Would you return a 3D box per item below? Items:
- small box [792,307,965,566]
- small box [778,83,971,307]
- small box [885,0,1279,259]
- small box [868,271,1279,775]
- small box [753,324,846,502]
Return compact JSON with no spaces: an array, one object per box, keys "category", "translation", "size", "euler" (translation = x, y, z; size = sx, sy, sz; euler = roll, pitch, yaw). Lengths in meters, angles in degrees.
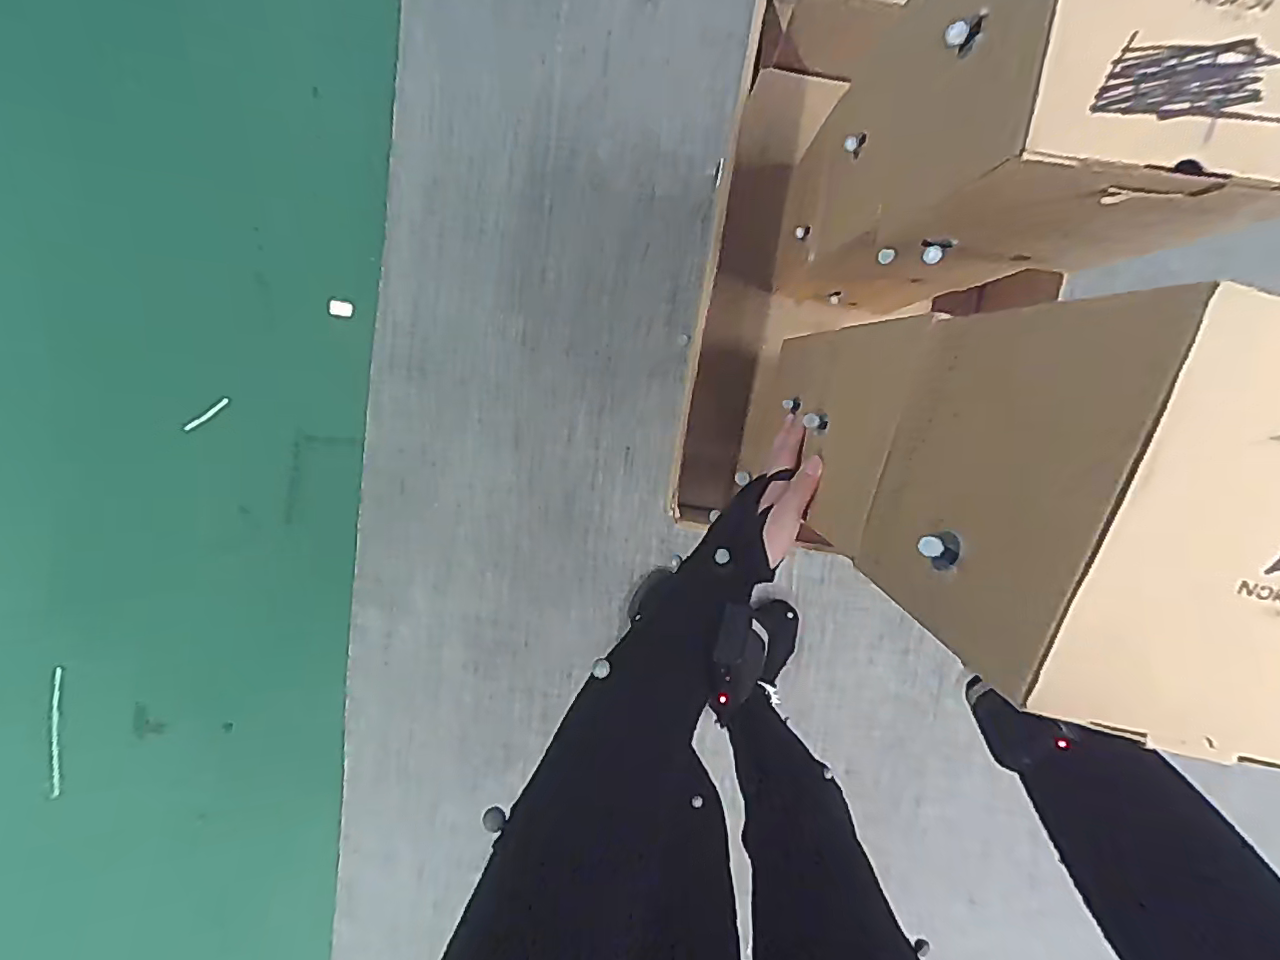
[{"category":"small box","translation":[0.240,-0.027,0.441],"size":[0.168,0.176,0.179],"euler":[13,102,-5]},{"category":"small box","translation":[0.273,-0.318,0.639],"size":[0.168,0.176,0.179],"euler":[8,99,-1]},{"category":"small box","translation":[0.268,-0.243,0.318],"size":[0.168,0.176,0.179],"euler":[6,99,-1]},{"category":"small box","translation":[0.247,0.014,0.283],"size":[0.168,0.176,0.179],"euler":[14,101,-5]},{"category":"small box","translation":[0.238,-0.061,0.601],"size":[0.168,0.176,0.179],"euler":[13,101,-4]}]
